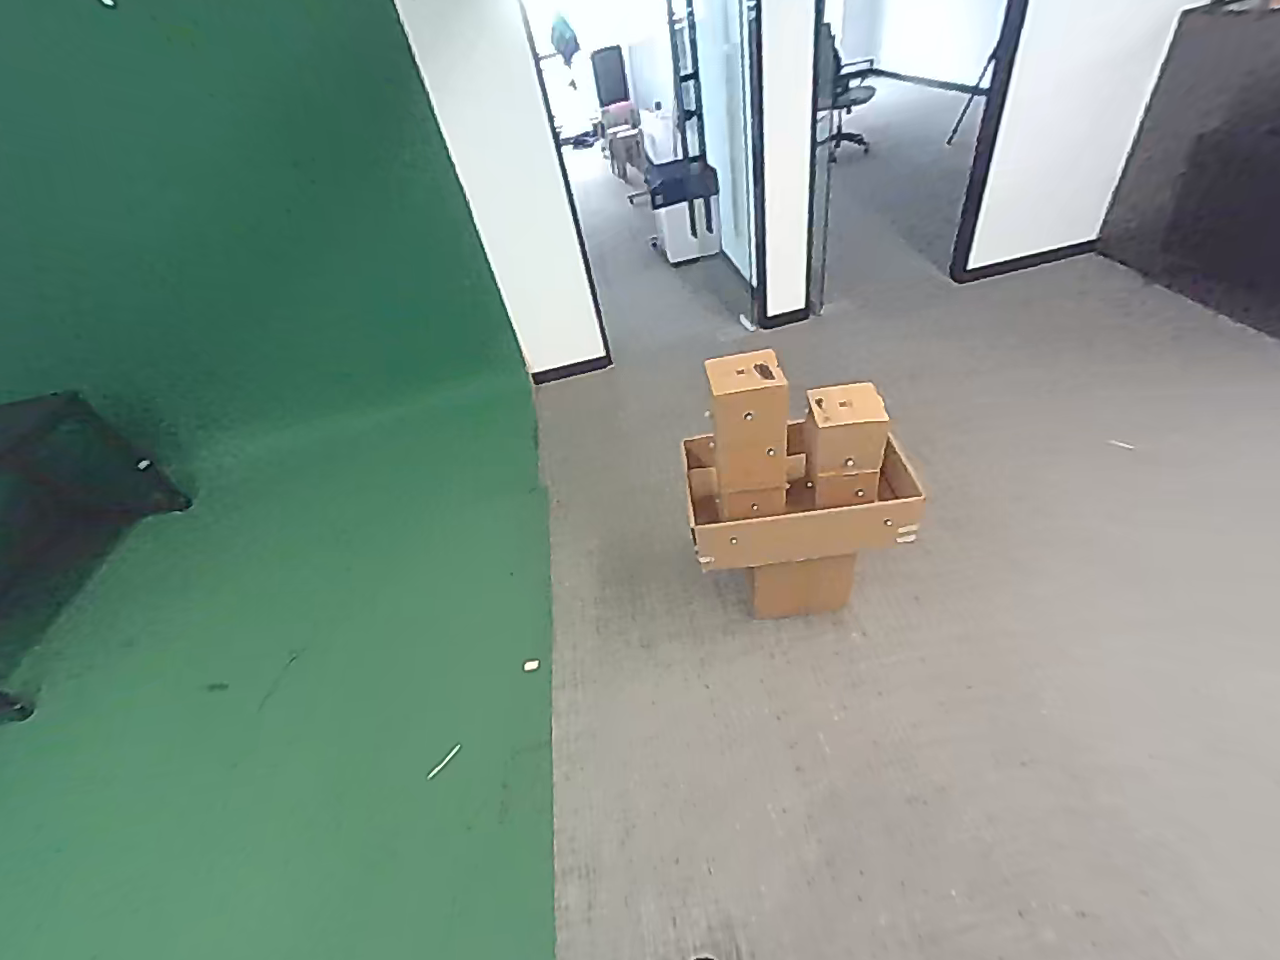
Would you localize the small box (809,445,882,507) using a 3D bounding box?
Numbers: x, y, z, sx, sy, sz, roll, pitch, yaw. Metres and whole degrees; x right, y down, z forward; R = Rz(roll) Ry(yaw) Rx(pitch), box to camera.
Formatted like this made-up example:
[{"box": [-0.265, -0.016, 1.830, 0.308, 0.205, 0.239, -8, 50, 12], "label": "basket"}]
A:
[{"box": [0.589, -0.033, 1.568, 0.168, 0.176, 0.179, -5, 44, 10], "label": "small box"}]

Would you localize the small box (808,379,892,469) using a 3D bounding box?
[{"box": [0.557, -0.147, 1.457, 0.179, 0.176, 0.168, -6, 44, 9], "label": "small box"}]

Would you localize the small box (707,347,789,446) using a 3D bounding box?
[{"box": [0.270, -0.208, 1.361, 0.179, 0.176, 0.168, -10, 43, 6], "label": "small box"}]
